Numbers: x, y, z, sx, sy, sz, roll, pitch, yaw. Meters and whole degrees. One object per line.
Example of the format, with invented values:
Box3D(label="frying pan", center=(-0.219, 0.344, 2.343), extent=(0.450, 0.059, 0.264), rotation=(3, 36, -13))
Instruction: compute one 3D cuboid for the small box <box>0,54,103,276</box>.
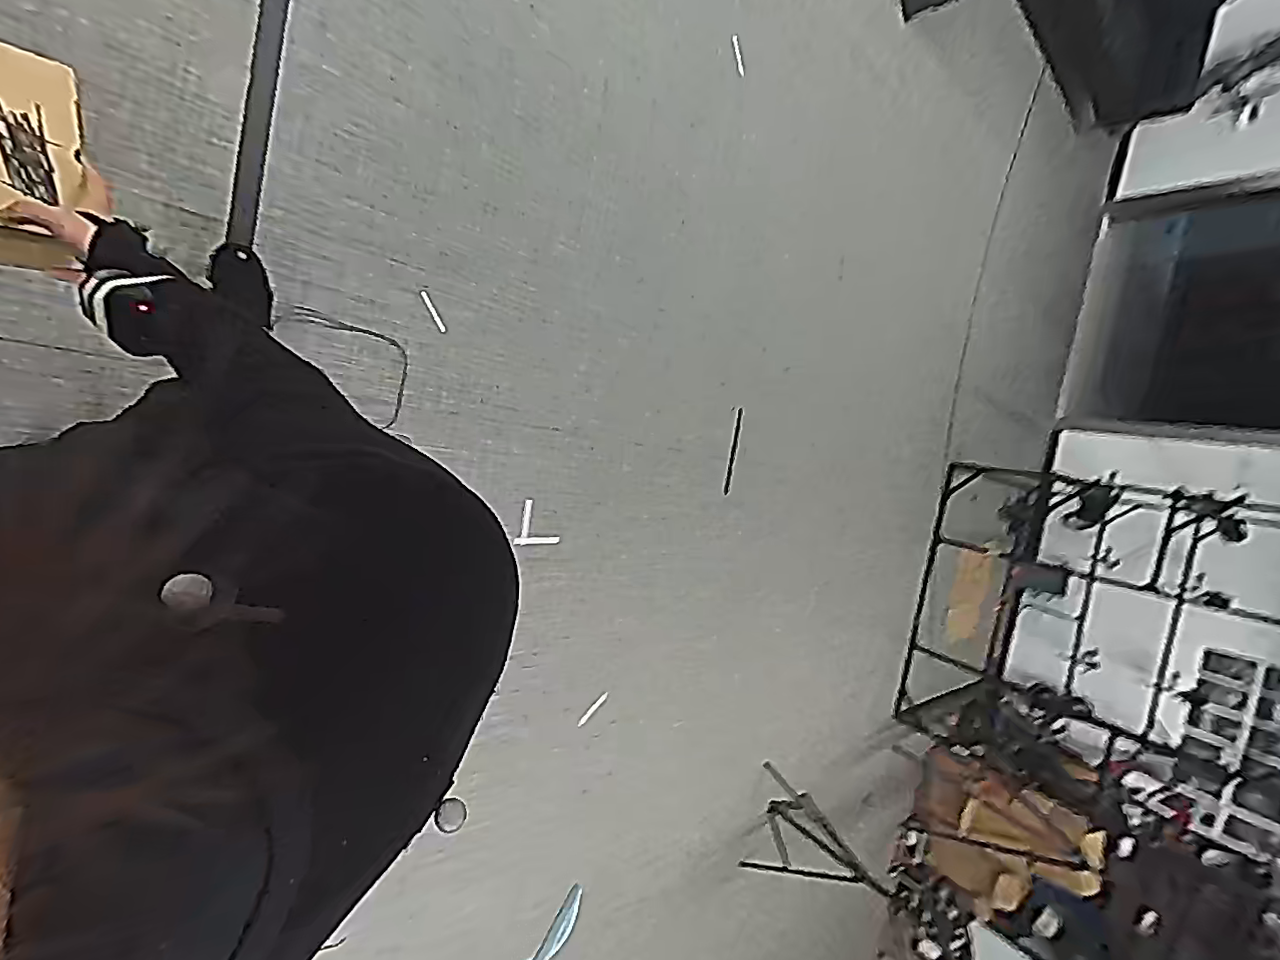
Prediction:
Box3D(label="small box", center=(-0.661, -0.304, 0.516), extent=(0.179, 0.176, 0.168), rotation=(-10, 100, -53))
